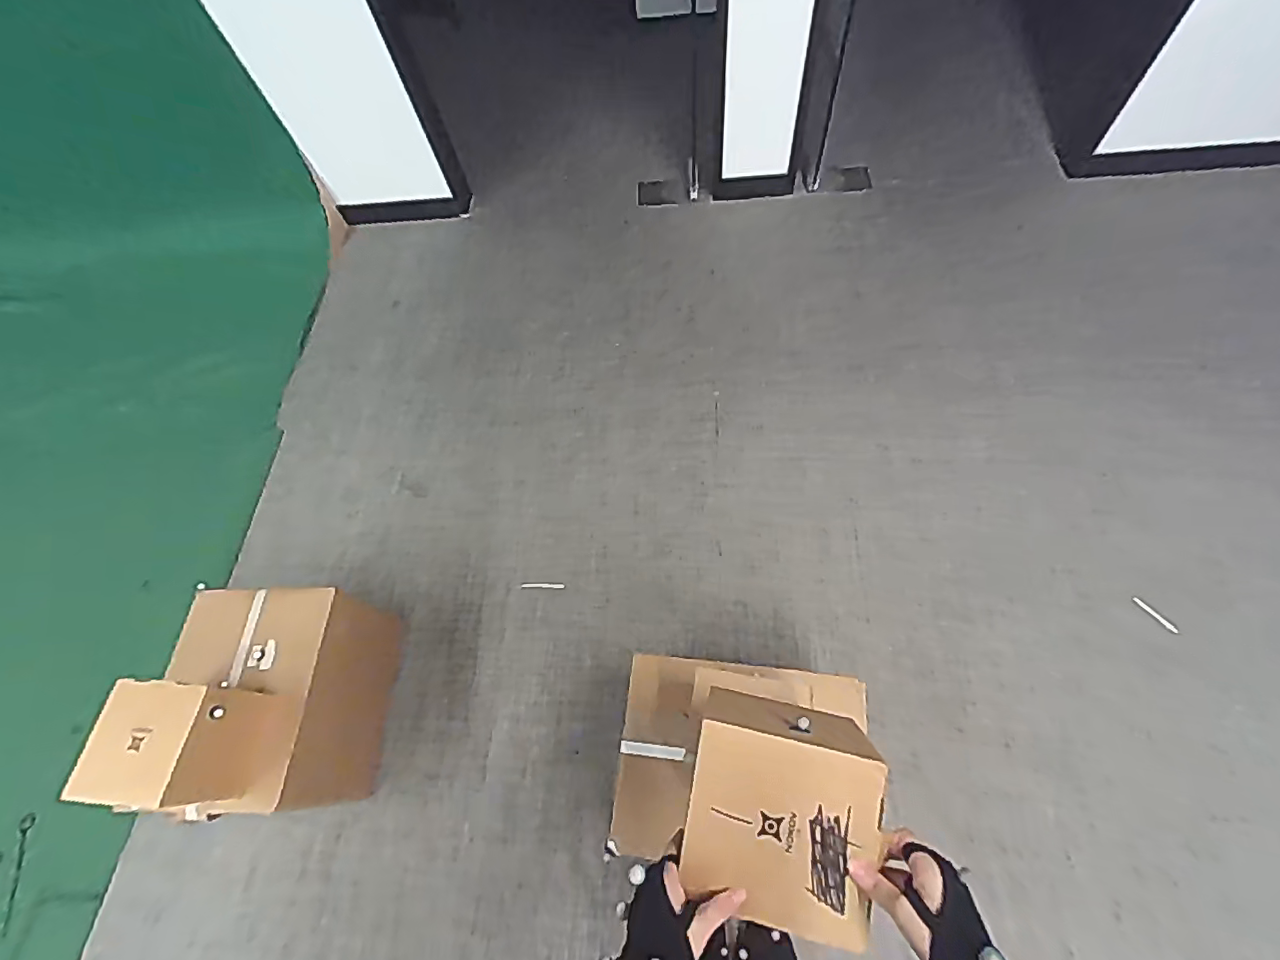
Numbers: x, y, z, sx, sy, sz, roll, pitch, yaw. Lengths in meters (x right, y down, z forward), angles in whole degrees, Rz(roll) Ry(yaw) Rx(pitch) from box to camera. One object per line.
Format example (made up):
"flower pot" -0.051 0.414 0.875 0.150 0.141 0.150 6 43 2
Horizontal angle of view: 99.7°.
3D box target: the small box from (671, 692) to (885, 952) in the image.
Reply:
"small box" 0.144 0.344 0.588 0.179 0.176 0.168 10 81 13

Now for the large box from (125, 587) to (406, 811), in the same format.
"large box" -0.759 0.474 1.169 0.320 0.320 0.408 -2 62 5

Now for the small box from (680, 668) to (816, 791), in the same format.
"small box" 0.161 0.402 0.832 0.179 0.176 0.168 7 62 10

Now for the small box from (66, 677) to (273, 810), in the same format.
"small box" -0.770 0.441 0.911 0.168 0.176 0.179 2 62 6
